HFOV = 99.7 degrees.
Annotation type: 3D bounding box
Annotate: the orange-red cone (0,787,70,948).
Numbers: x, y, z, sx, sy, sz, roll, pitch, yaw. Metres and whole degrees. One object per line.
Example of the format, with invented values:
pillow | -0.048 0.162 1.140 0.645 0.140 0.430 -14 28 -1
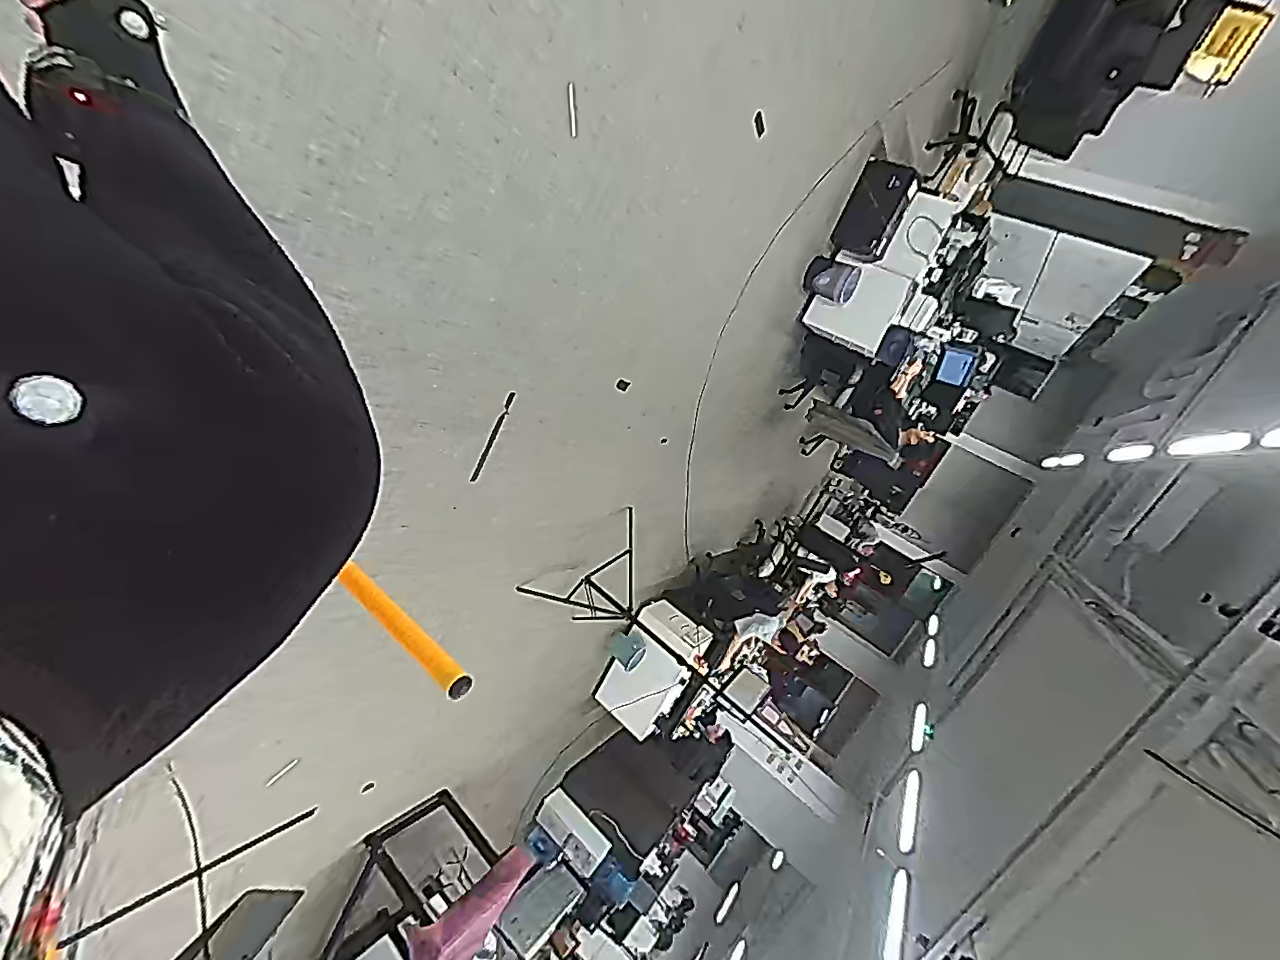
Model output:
orange-red cone | -1.550 1.012 1.366 0.199 0.360 0.198 -61 154 12
